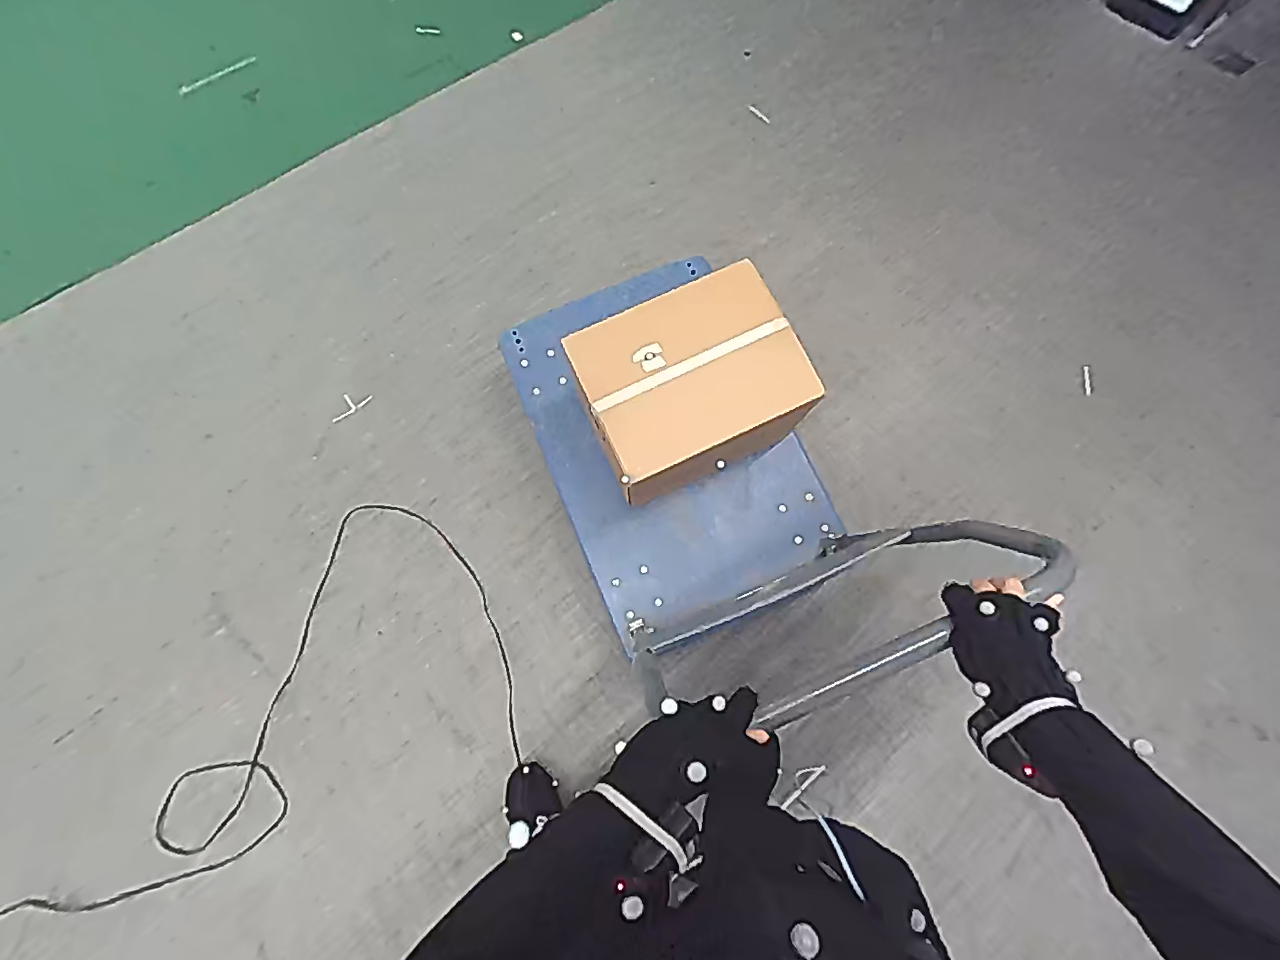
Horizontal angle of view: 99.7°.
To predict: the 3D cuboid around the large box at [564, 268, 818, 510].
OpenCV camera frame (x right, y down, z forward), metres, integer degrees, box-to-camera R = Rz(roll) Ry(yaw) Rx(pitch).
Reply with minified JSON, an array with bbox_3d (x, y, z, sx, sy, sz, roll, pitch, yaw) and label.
[{"bbox_3d":[0.098,-0.172,1.173,0.408,0.320,0.320,-27,79,-4],"label":"large box"}]
